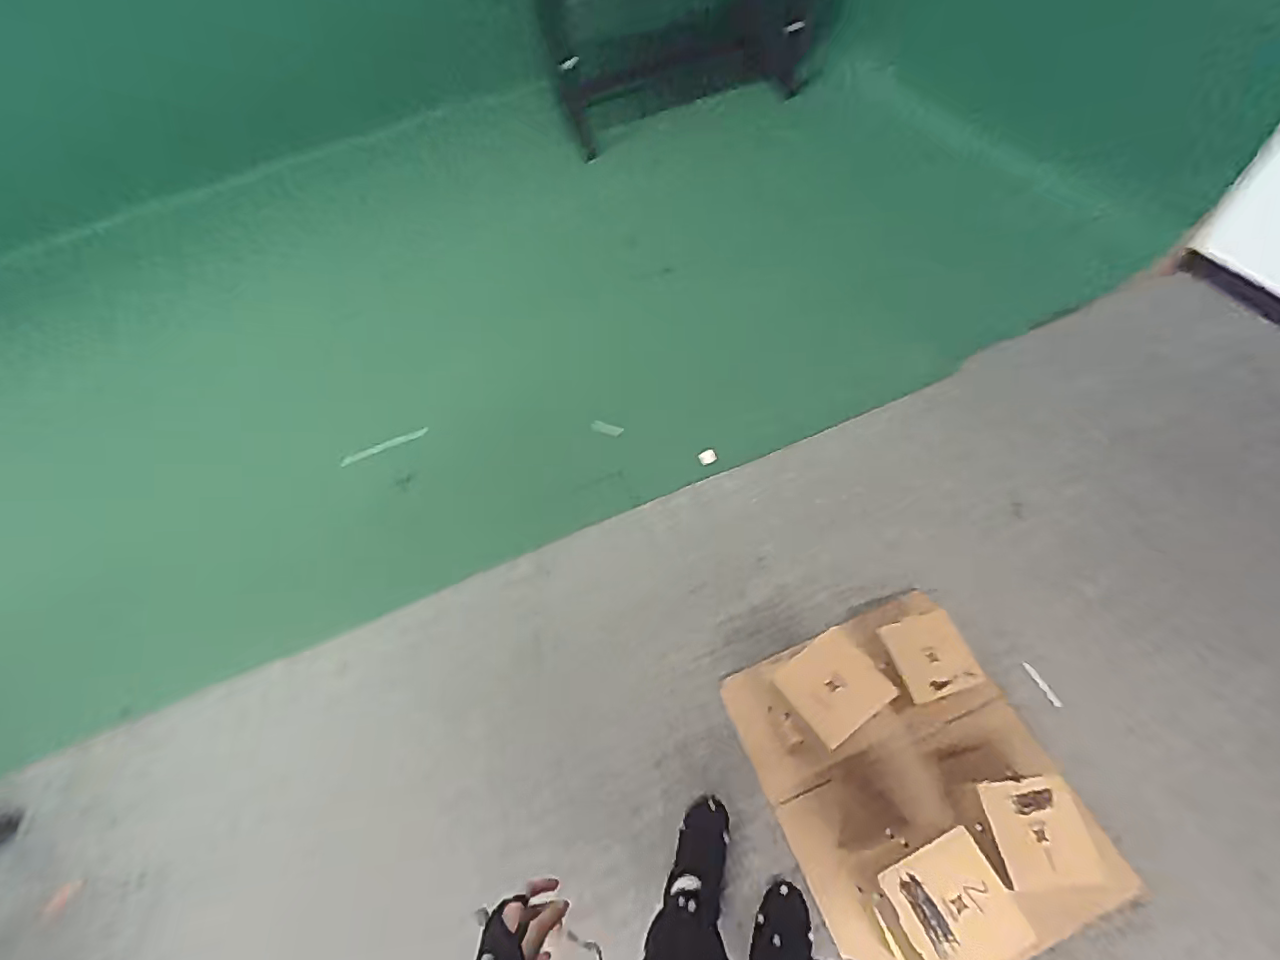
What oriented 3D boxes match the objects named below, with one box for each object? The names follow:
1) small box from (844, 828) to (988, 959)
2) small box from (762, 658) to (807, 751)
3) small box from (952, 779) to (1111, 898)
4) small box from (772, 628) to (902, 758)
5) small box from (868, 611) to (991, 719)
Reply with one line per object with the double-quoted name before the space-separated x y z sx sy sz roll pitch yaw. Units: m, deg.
"small box" 0.517 0.798 1.050 0.179 0.176 0.168 -18 58 -3
"small box" 0.392 0.512 1.250 0.179 0.176 0.168 -17 59 -3
"small box" 0.754 0.703 1.070 0.168 0.176 0.179 -8 59 3
"small box" 0.388 0.438 1.102 0.179 0.176 0.168 -33 59 -11
"small box" 0.658 0.433 1.256 0.168 0.176 0.179 -16 57 -2
